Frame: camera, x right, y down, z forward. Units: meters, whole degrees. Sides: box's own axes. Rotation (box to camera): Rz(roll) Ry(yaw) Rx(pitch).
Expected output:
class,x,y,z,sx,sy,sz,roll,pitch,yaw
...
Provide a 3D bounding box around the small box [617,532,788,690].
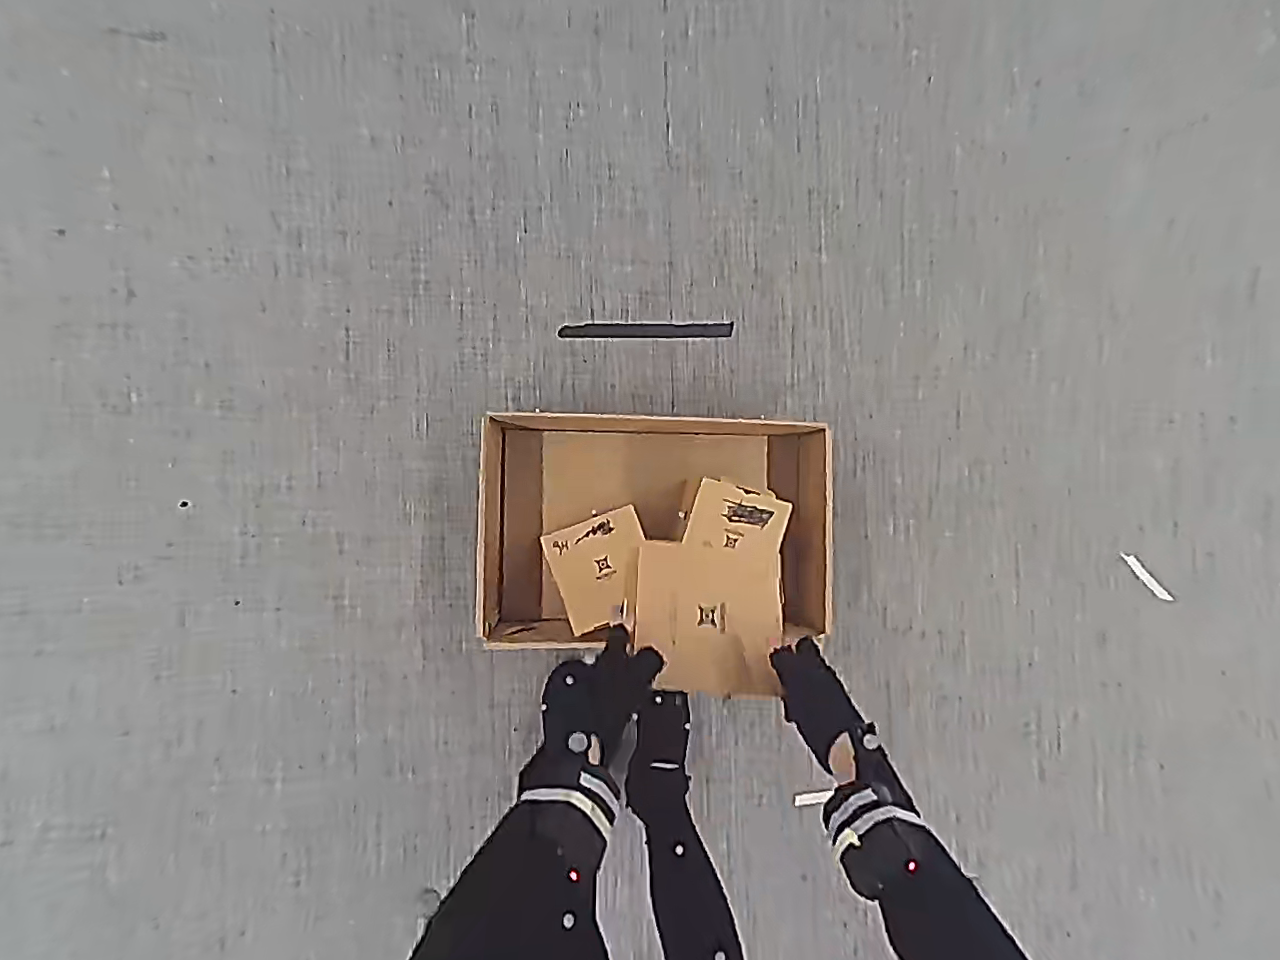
class,x,y,z,sx,sy,sz,roll,pitch,yaw
small box,0.071,0.169,0.685,0.179,0.176,0.168,5,71,-6
